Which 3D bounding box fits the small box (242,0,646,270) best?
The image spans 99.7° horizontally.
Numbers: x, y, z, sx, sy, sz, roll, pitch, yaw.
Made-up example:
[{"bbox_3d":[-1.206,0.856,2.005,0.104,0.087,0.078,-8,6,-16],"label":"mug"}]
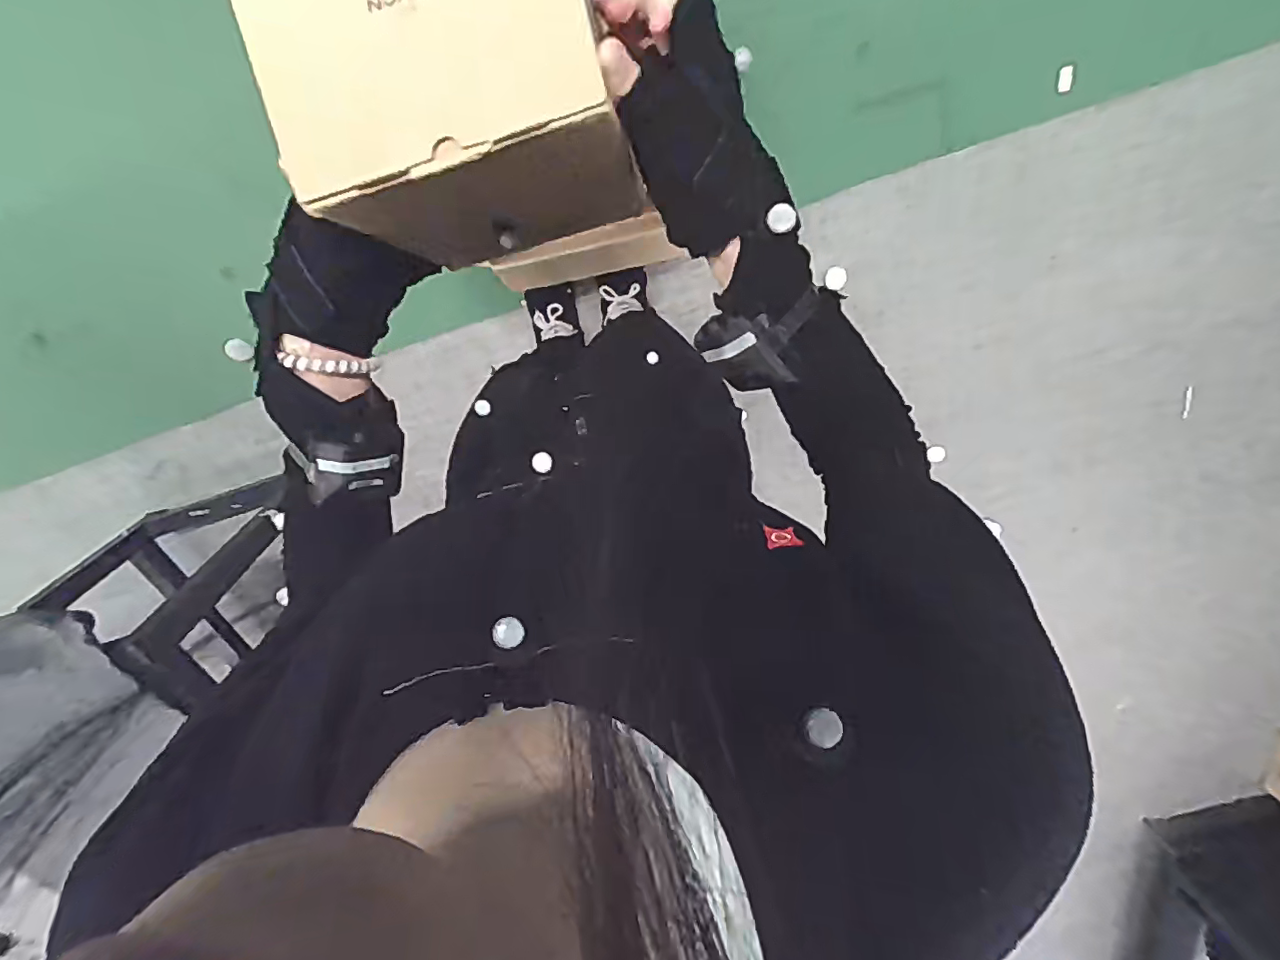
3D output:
[{"bbox_3d":[-0.100,-0.250,0.327,0.168,0.176,0.179,-13,100,9],"label":"small box"}]
